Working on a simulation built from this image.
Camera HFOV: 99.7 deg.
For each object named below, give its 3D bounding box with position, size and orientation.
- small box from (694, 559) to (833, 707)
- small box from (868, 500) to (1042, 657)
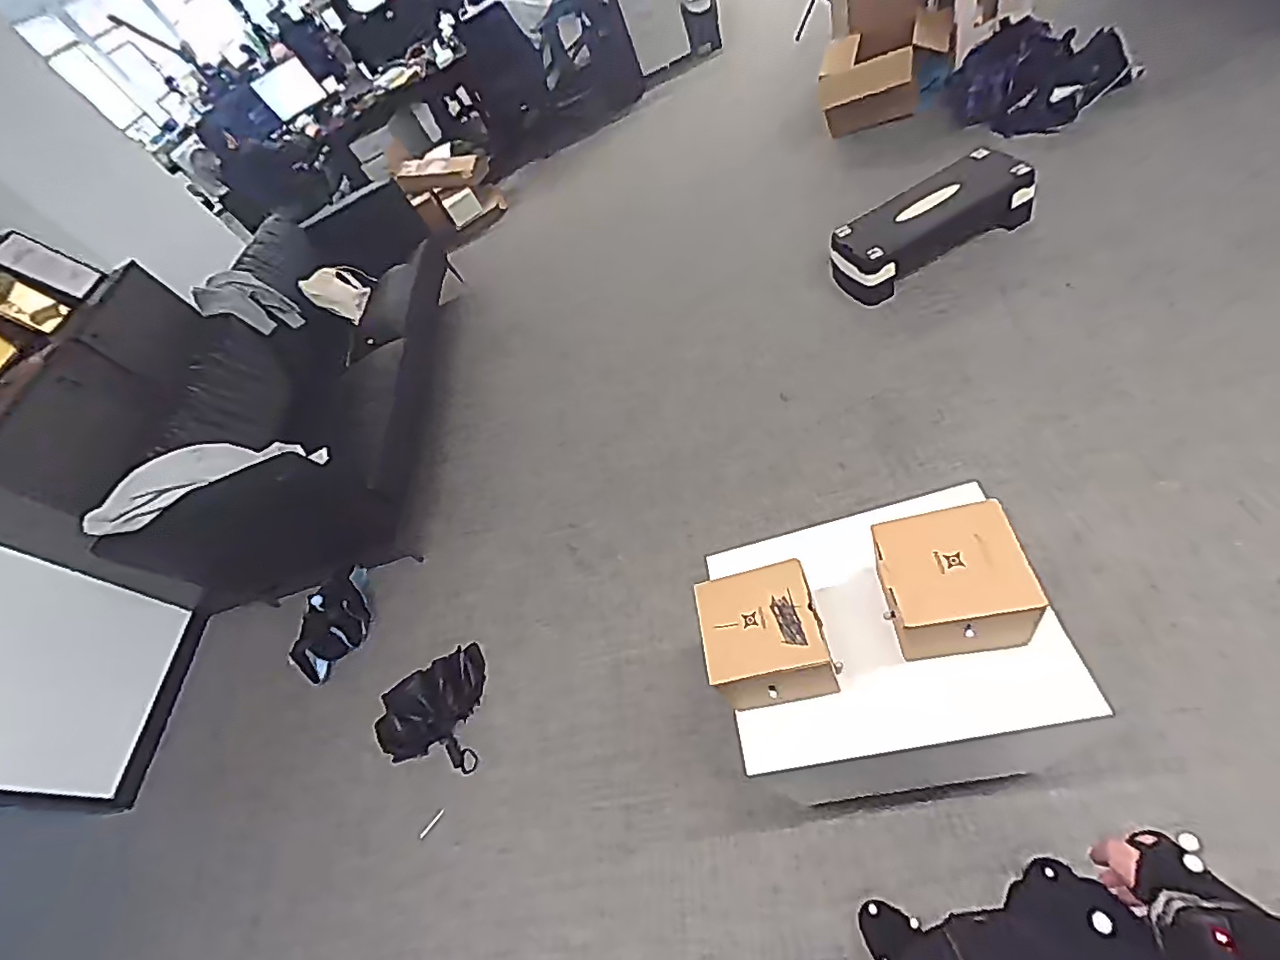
[{"bbox_3d":[0.202,0.253,0.874,0.179,0.176,0.168,-18,51,15],"label":"small box"},{"bbox_3d":[0.461,0.156,0.815,0.179,0.176,0.168,-15,53,17],"label":"small box"}]
